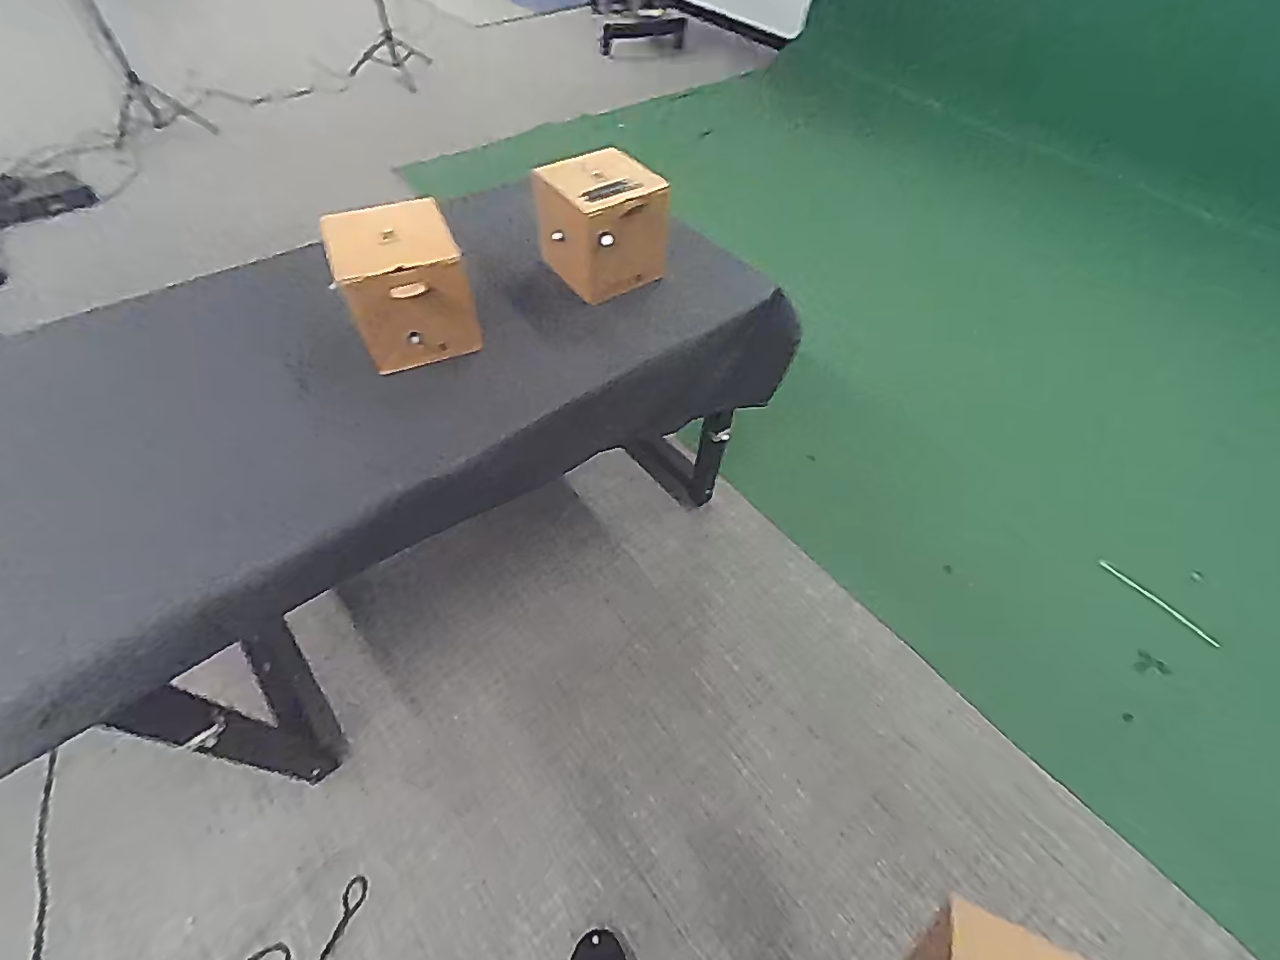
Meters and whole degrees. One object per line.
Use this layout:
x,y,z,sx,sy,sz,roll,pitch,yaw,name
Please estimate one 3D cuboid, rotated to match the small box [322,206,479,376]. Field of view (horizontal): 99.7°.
-0.365,-0.292,0.841,0.168,0.176,0.179,-20,58,-17,small box
